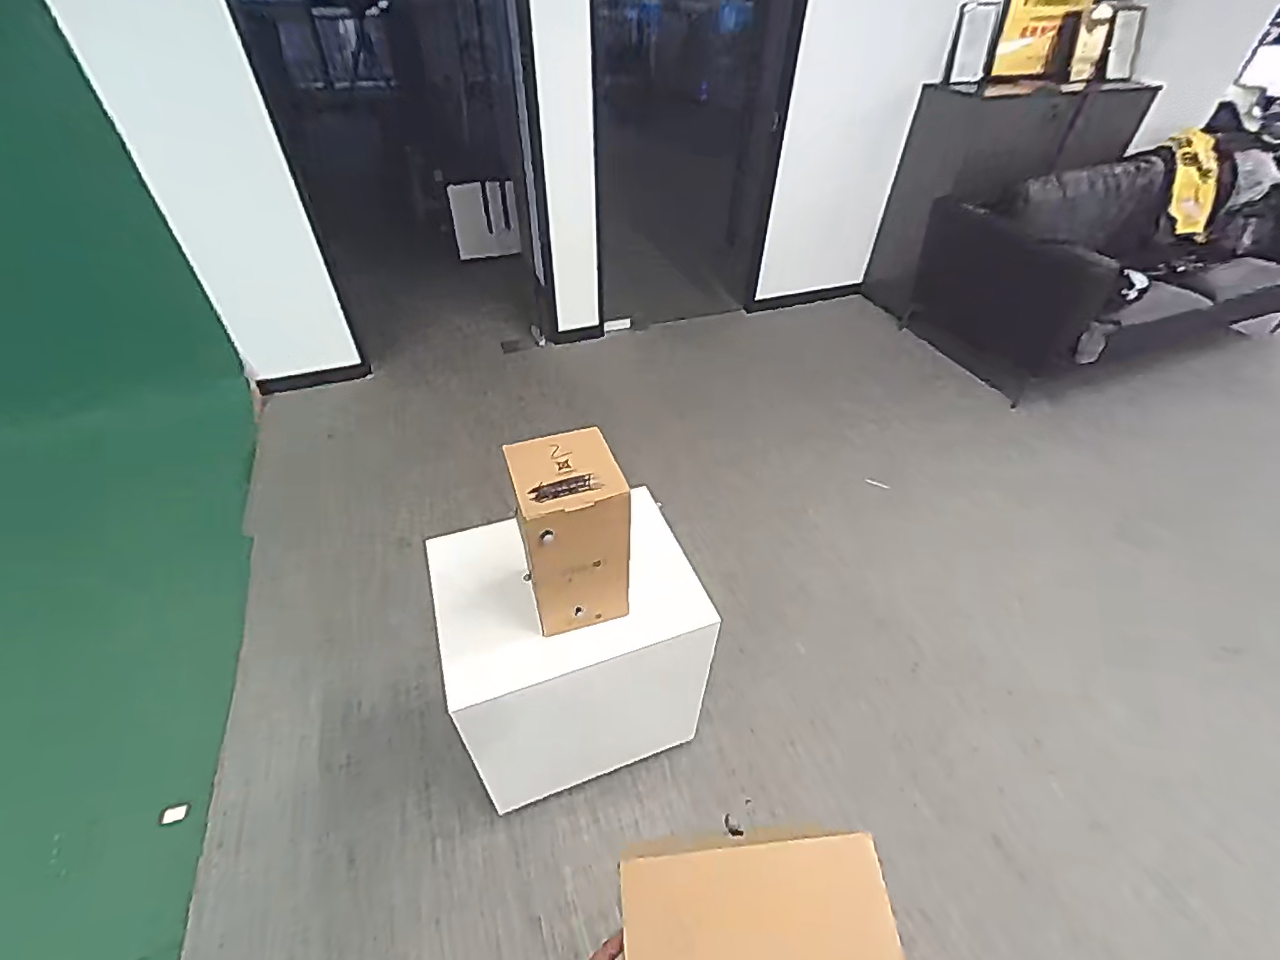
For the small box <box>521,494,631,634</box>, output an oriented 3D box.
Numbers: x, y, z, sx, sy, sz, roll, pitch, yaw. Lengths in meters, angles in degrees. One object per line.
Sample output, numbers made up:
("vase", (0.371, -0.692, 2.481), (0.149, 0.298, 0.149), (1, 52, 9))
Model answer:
("small box", (-0.121, 0.155, 1.010), (0.168, 0.176, 0.179), (-12, 44, -15))
